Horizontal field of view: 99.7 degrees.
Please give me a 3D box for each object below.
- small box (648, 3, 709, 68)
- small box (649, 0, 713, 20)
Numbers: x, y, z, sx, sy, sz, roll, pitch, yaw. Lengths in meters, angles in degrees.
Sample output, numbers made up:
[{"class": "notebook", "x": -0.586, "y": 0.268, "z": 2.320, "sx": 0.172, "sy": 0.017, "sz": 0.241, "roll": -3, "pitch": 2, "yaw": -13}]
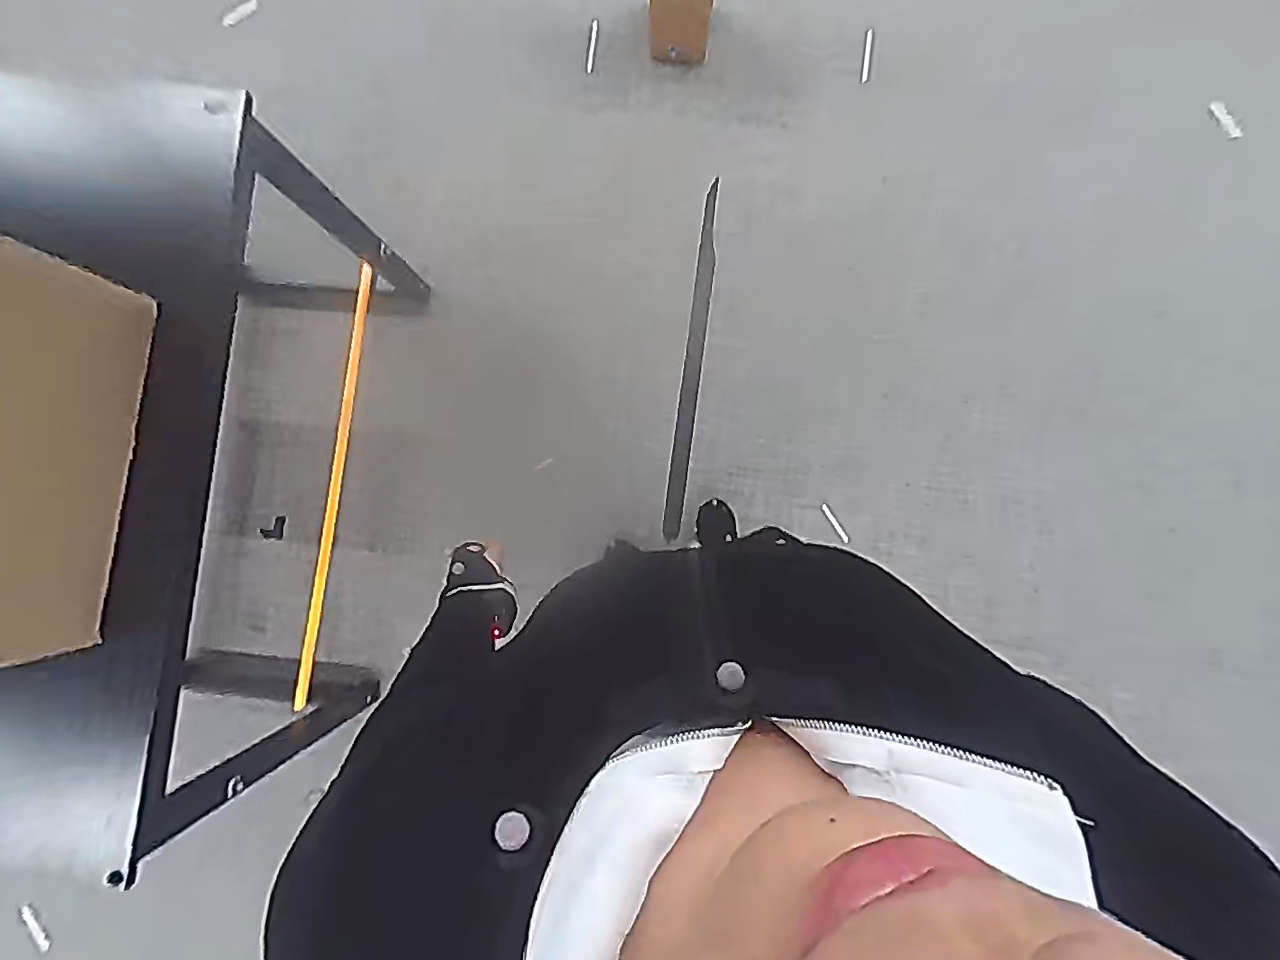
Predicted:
[{"class": "small box", "x": 0.111, "y": -1.307, "z": 1.514, "sx": 0.168, "sy": 0.176, "sz": 0.179, "roll": 4, "pitch": 88, "yaw": 4}, {"class": "small box", "x": 0.107, "y": -1.300, "z": 1.349, "sx": 0.168, "sy": 0.176, "sz": 0.179, "roll": 5, "pitch": 87, "yaw": 3}]
